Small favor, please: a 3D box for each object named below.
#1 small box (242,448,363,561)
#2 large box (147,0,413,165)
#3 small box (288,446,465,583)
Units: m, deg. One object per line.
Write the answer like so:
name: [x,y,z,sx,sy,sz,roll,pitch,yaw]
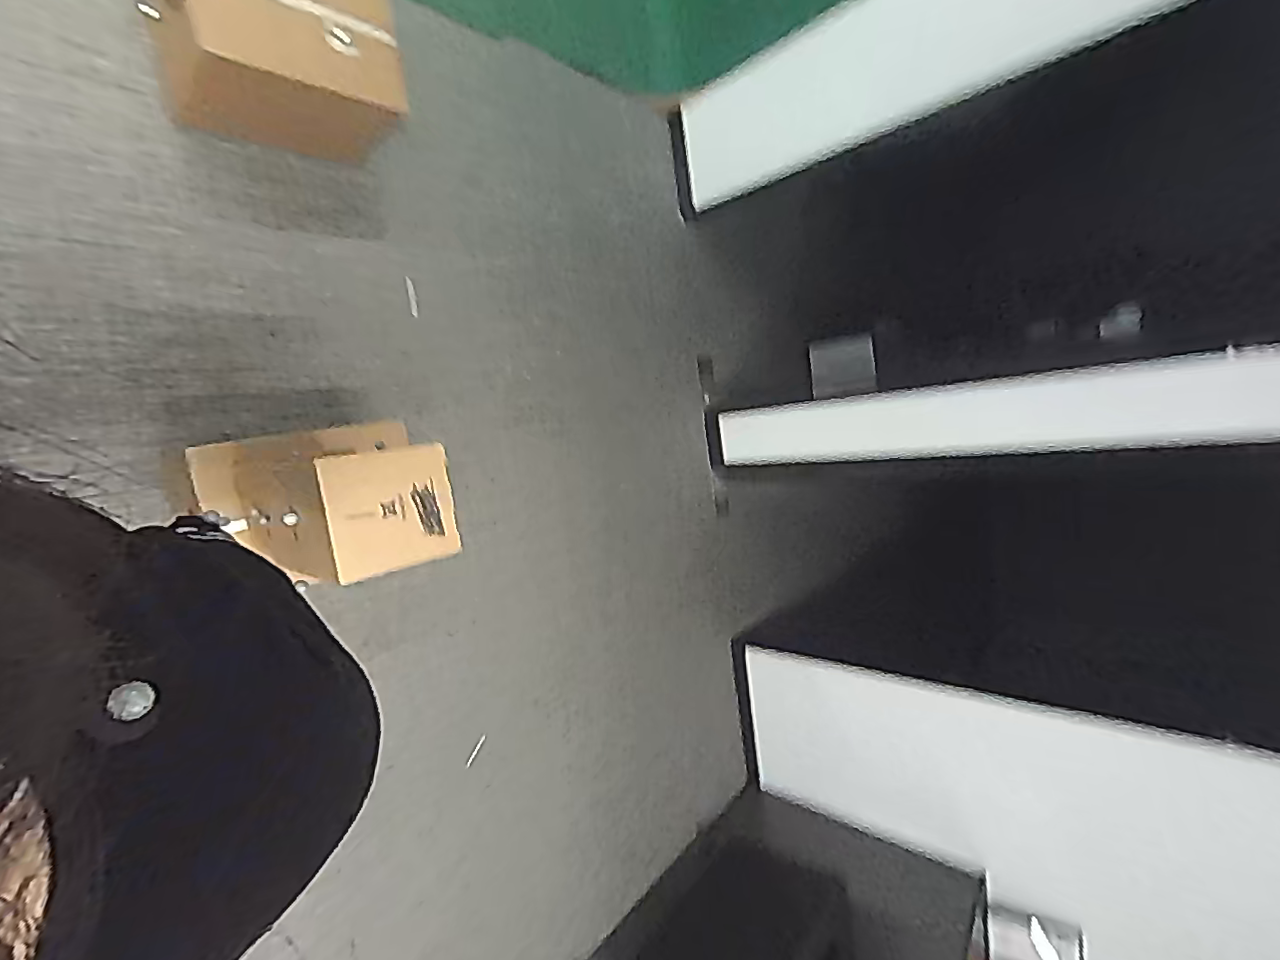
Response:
small box: [-0.630,0.041,1.037,0.168,0.176,0.179,-19,102,-47]
large box: [-0.805,-0.975,1.223,0.408,0.320,0.320,-17,102,-48]
small box: [-0.392,0.043,0.808,0.179,0.176,0.168,-14,98,-46]
